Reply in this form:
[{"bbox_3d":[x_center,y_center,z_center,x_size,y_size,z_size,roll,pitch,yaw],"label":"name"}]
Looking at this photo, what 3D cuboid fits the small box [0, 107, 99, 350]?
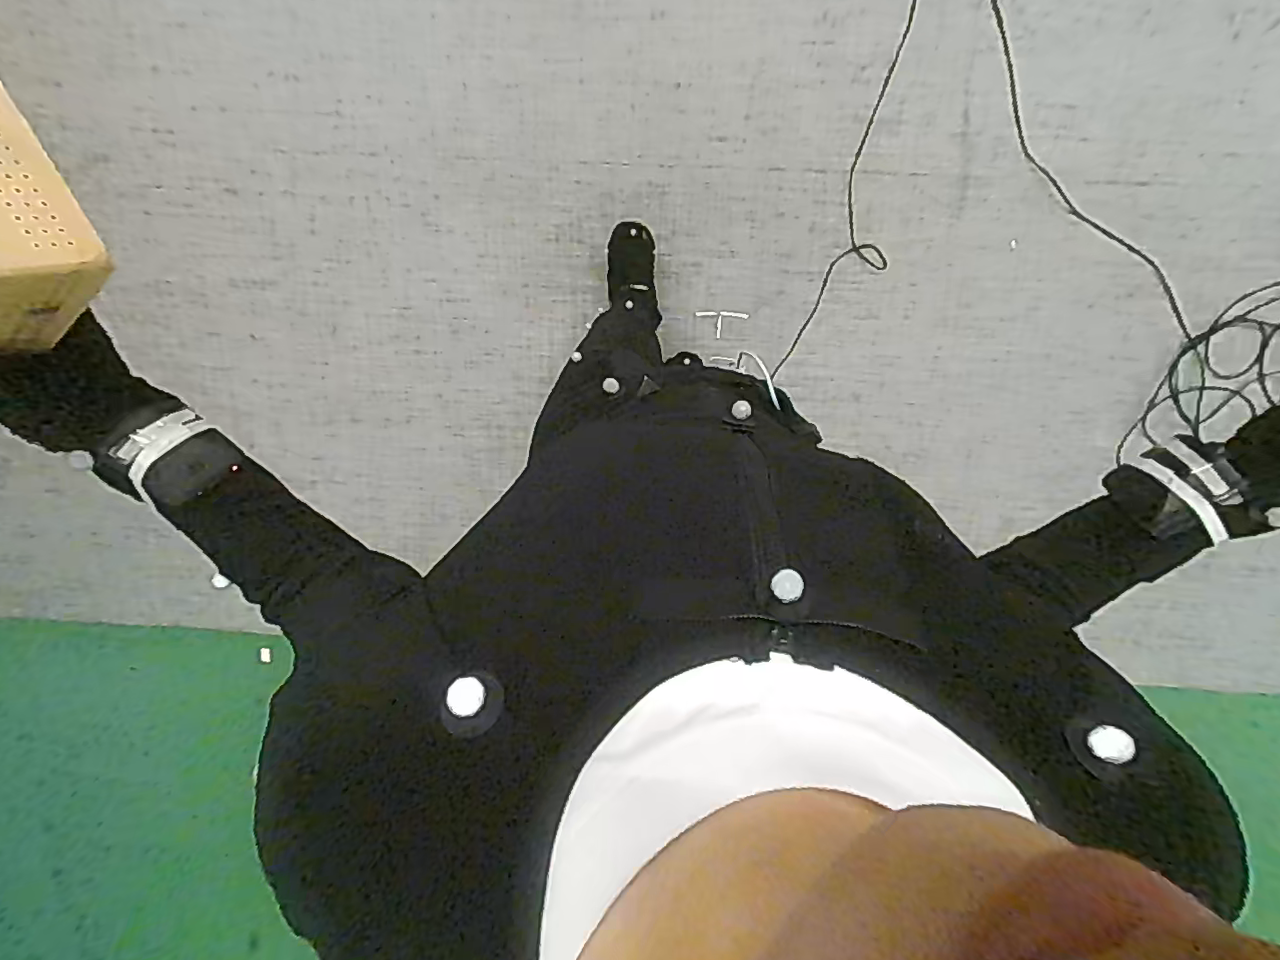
[{"bbox_3d":[-0.400,-0.140,0.226,0.168,0.176,0.179,-11,110,32],"label":"small box"}]
